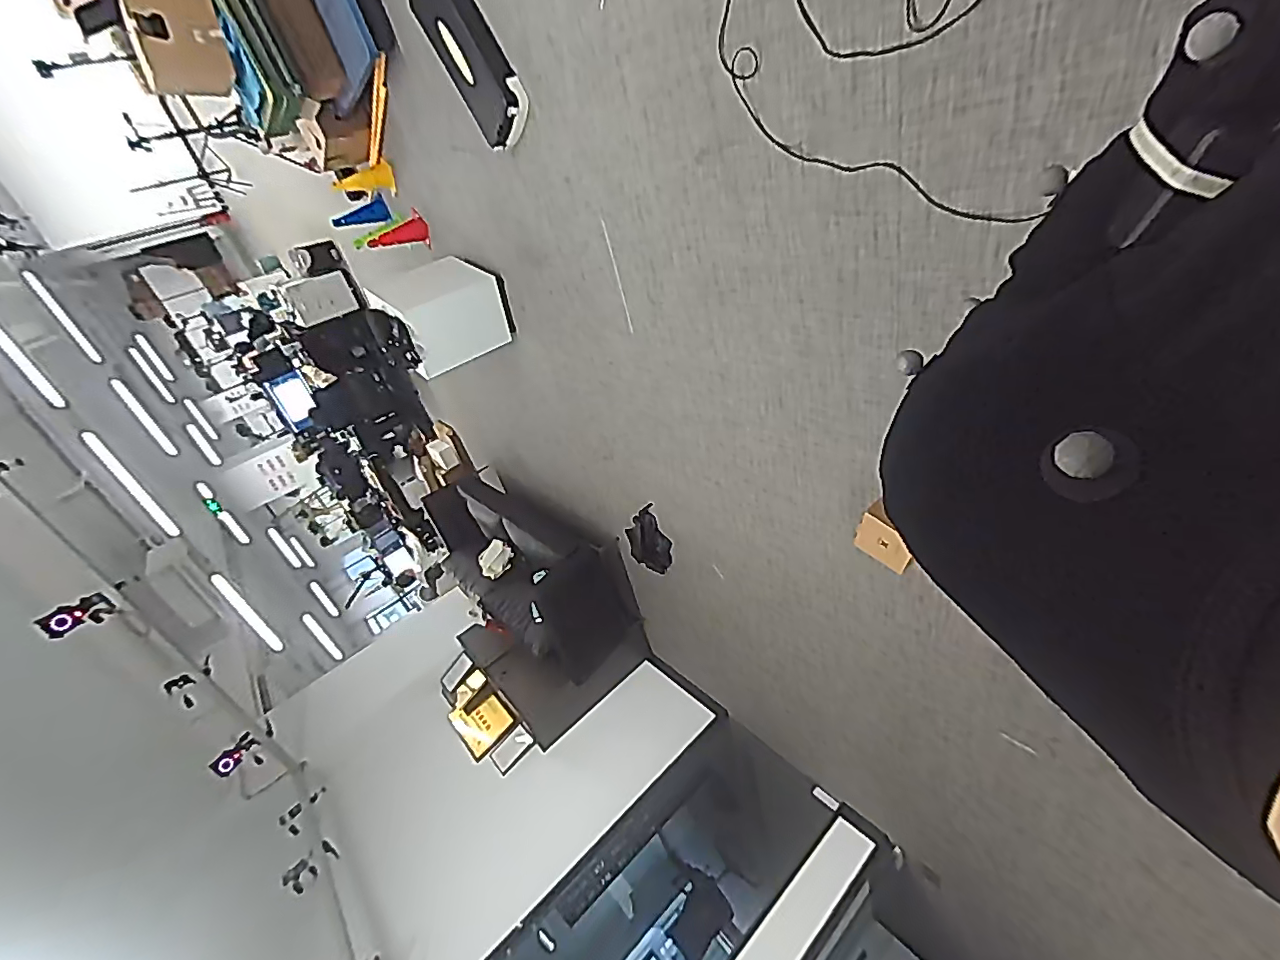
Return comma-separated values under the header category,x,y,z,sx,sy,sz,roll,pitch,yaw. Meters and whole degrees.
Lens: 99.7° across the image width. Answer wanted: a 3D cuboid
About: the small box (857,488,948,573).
category,x,y,z,sx,sy,sz,roll,pitch,yaw
small box,0.821,0.150,1.694,0.179,0.176,0.168,36,148,32
